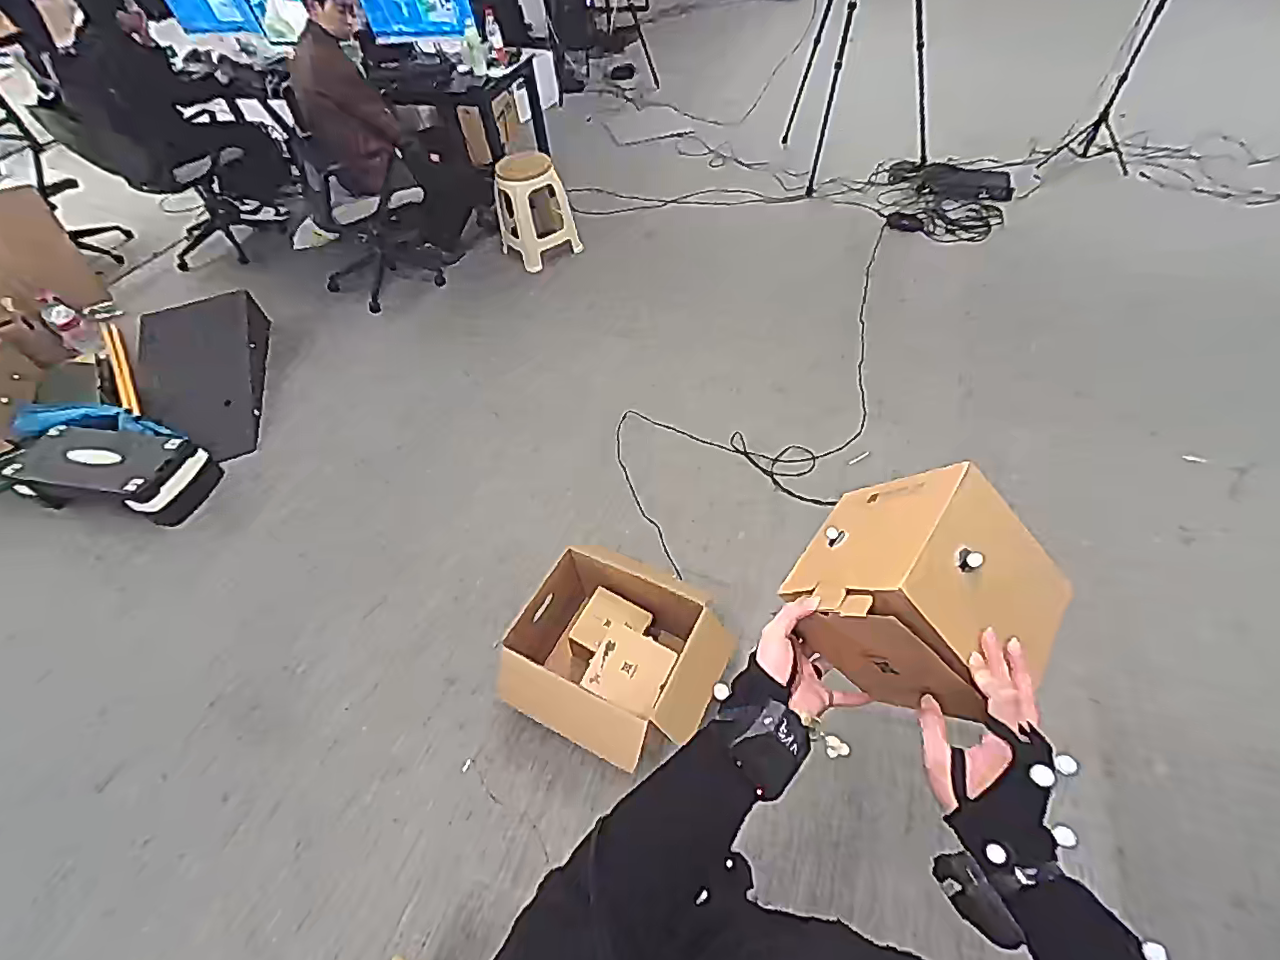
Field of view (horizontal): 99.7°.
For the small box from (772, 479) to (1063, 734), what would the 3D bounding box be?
[{"bbox_3d":[0.278,0.117,0.550,0.179,0.168,0.176,46,65,-7],"label":"small box"}]
